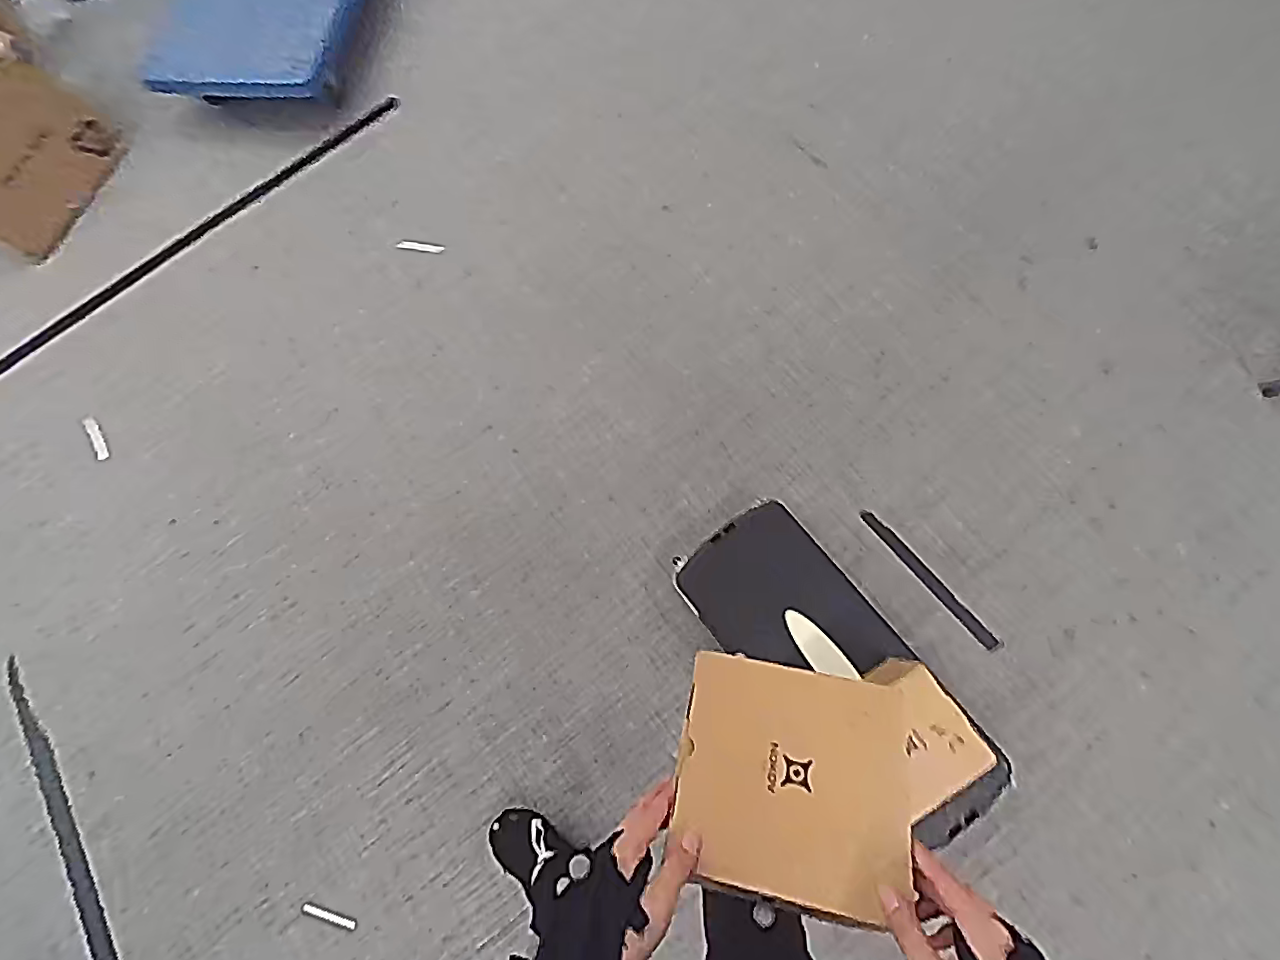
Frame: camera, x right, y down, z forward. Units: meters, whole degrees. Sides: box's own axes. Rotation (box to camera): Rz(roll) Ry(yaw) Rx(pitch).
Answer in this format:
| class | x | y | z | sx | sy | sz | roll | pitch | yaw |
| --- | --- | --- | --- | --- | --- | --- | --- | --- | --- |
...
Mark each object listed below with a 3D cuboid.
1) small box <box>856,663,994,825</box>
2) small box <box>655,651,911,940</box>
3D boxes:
| class | x | y | z | sx | sy | sz | roll | pitch | yaw |
| --- | --- | --- | --- | --- | --- | --- | --- | --- | --- |
| small box | 0.425 | 0.424 | 0.900 | 0.179 | 0.176 | 0.168 | -33 | 74 | -3 |
| small box | 0.118 | 0.275 | 0.480 | 0.179 | 0.176 | 0.168 | 7 | 53 | 11 |
